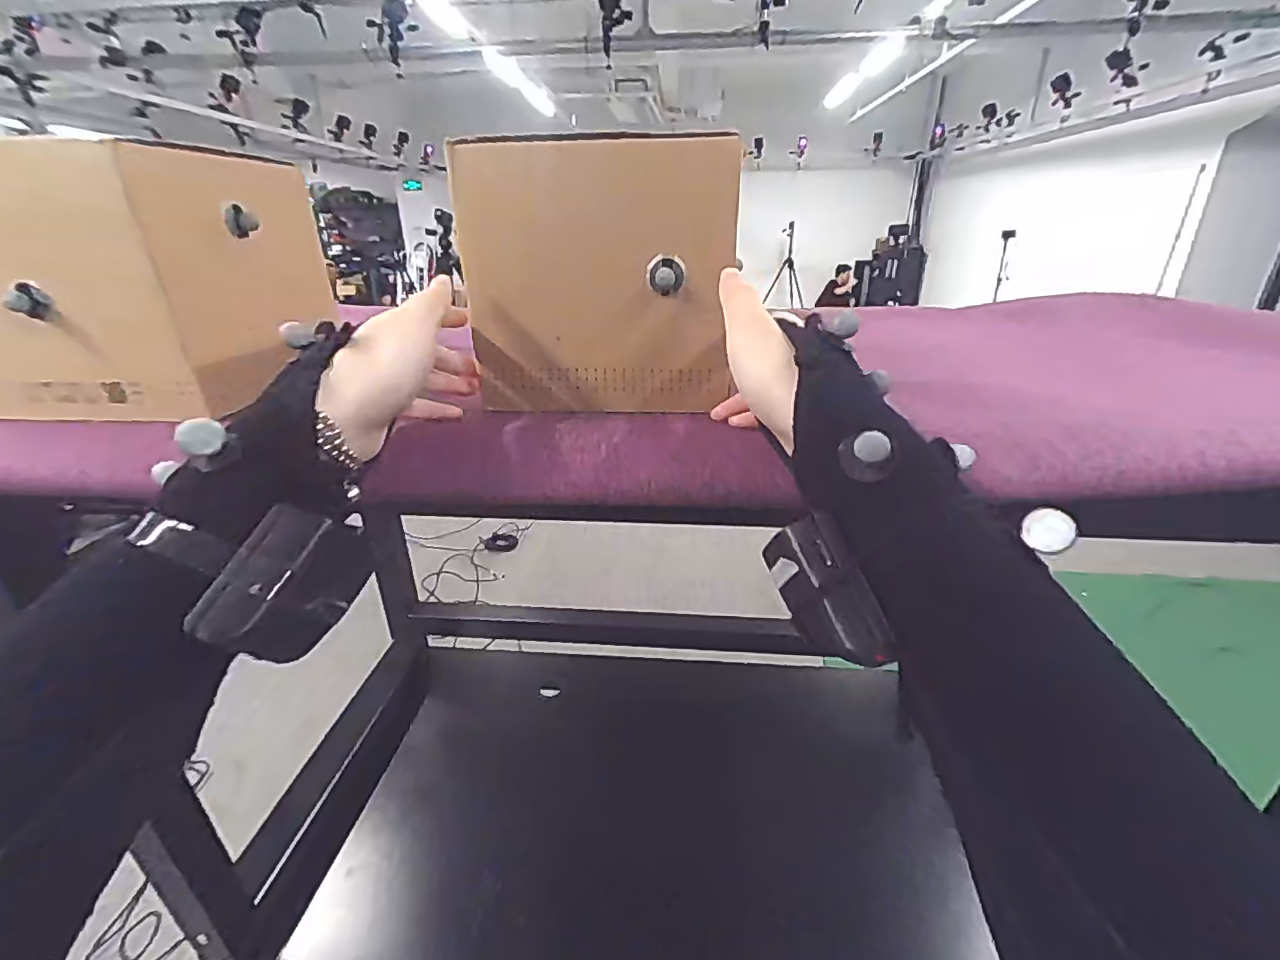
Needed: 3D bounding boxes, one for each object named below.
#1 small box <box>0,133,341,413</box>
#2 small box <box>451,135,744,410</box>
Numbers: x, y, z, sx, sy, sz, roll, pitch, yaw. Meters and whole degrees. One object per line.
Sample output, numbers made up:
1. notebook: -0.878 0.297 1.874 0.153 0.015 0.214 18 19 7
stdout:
1. small box: -0.363 -0.155 0.415 0.168 0.176 0.179 2 25 2
2. small box: -0.020 -0.156 0.420 0.179 0.176 0.168 0 24 4
